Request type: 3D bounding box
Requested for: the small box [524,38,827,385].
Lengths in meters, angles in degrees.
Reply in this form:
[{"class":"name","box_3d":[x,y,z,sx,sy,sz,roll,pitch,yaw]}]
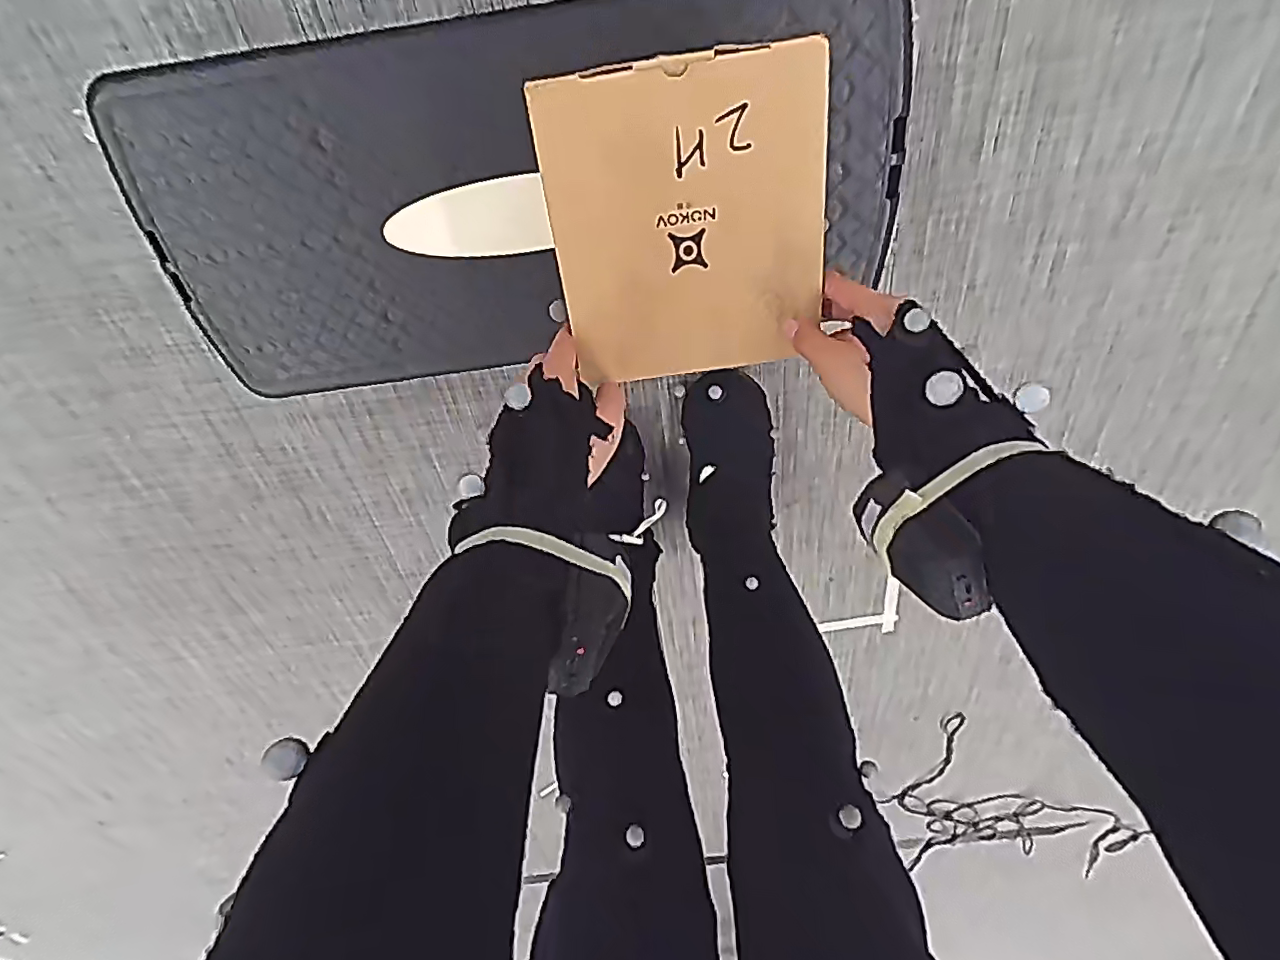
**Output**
[{"class":"small box","box_3d":[0.026,-0.188,0.398,0.168,0.176,0.179,-7,119,2]}]
